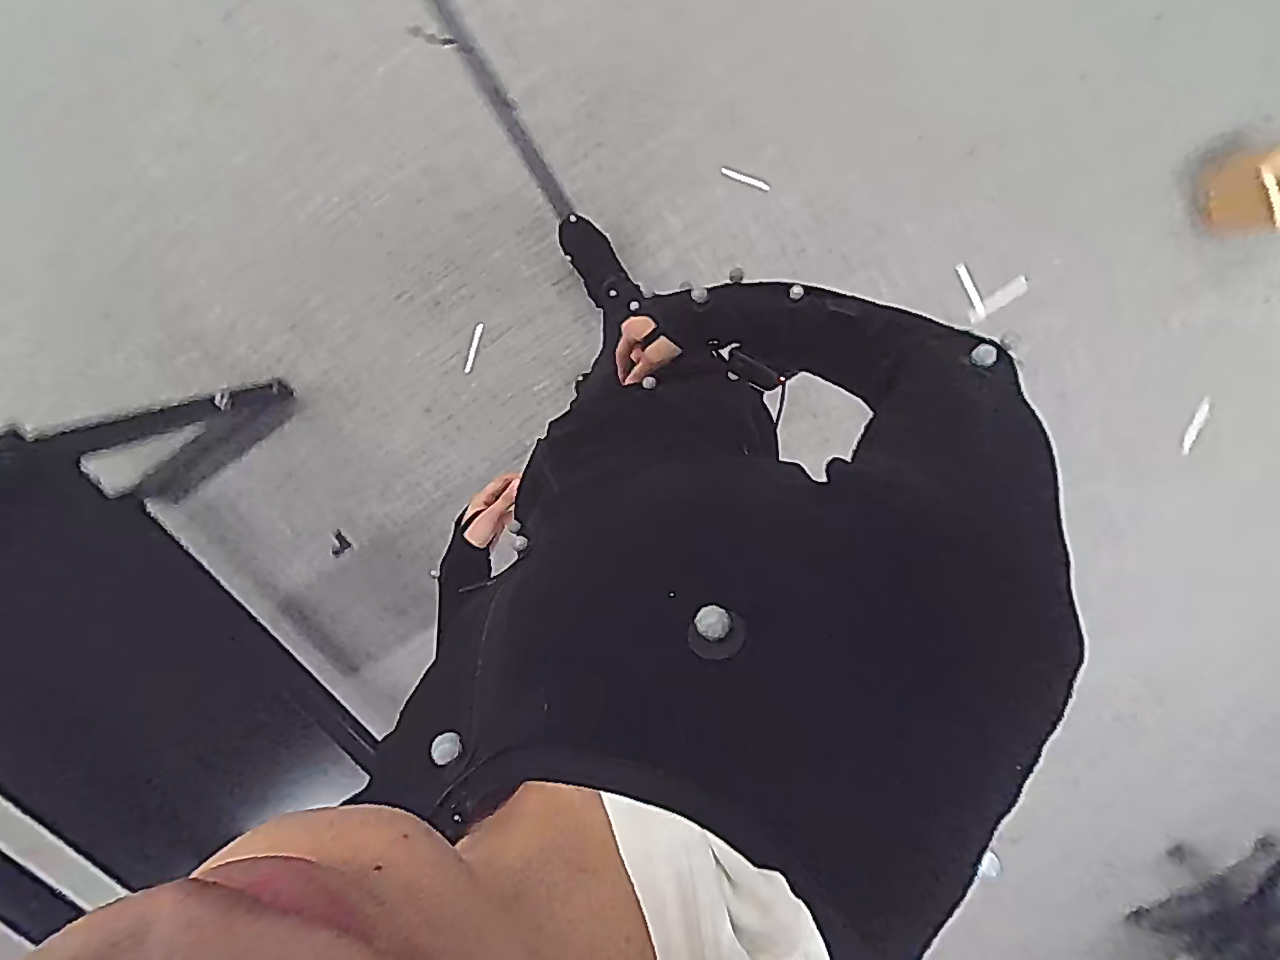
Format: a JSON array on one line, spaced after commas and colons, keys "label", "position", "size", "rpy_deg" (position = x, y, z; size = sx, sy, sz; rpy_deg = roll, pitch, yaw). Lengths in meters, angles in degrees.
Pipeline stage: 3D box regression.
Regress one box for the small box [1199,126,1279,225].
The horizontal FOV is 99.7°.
[{"label": "small box", "position": [1.597, -0.781, 1.380], "size": [0.179, 0.176, 0.168], "rpy_deg": [-36, 106, 8]}]
